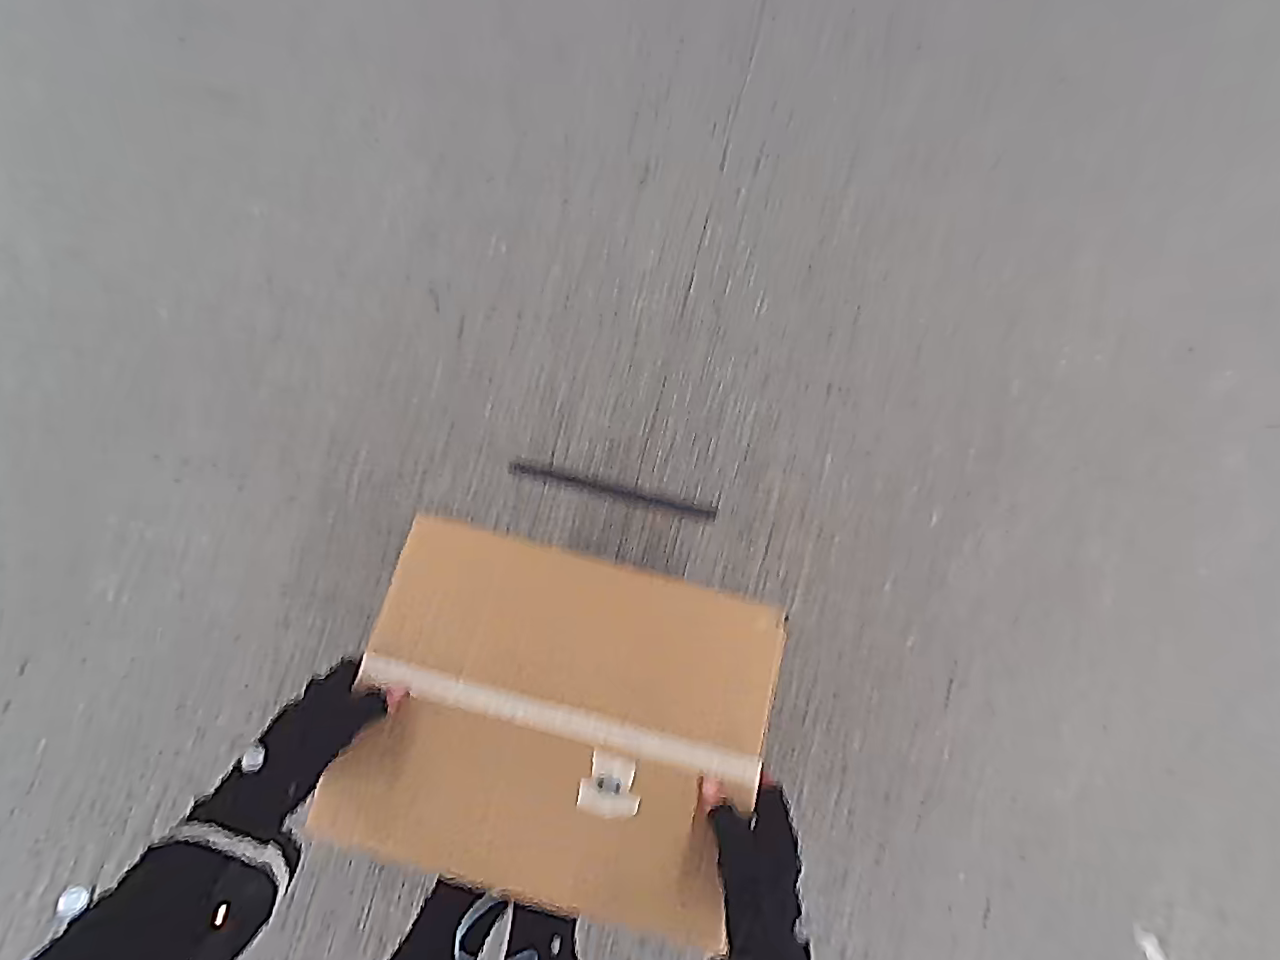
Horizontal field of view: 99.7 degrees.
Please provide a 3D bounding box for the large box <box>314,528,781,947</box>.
[{"bbox_3d":[-0.085,0.275,0.679,0.408,0.320,0.320,15,77,2],"label":"large box"}]
